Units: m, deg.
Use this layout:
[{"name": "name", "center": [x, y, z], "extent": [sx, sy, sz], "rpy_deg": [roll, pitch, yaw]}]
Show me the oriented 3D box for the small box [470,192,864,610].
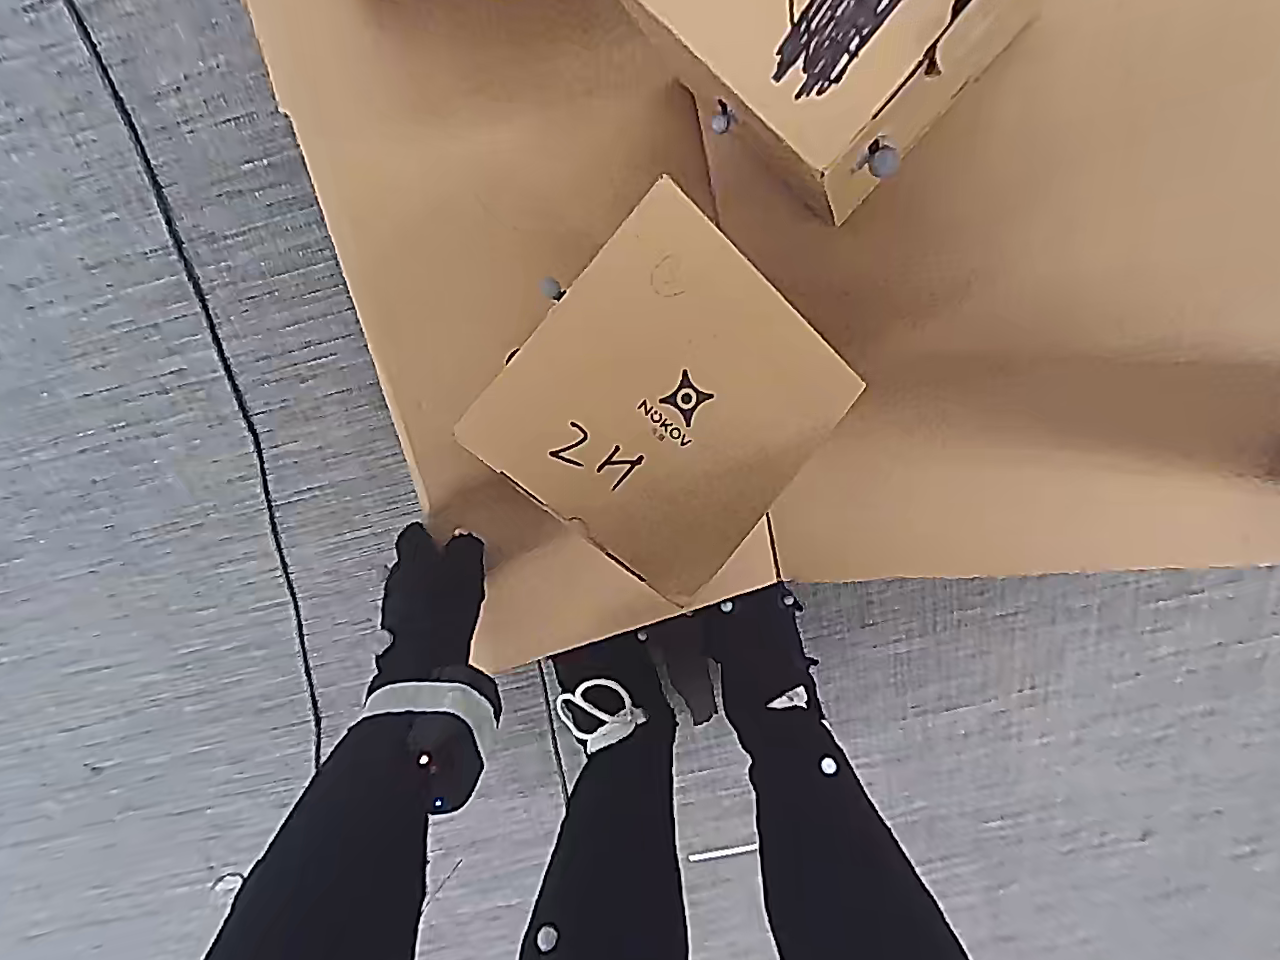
[{"name": "small box", "center": [0.005, -0.050, 0.378], "extent": [0.168, 0.176, 0.179], "rpy_deg": [40, 90, -16]}]
